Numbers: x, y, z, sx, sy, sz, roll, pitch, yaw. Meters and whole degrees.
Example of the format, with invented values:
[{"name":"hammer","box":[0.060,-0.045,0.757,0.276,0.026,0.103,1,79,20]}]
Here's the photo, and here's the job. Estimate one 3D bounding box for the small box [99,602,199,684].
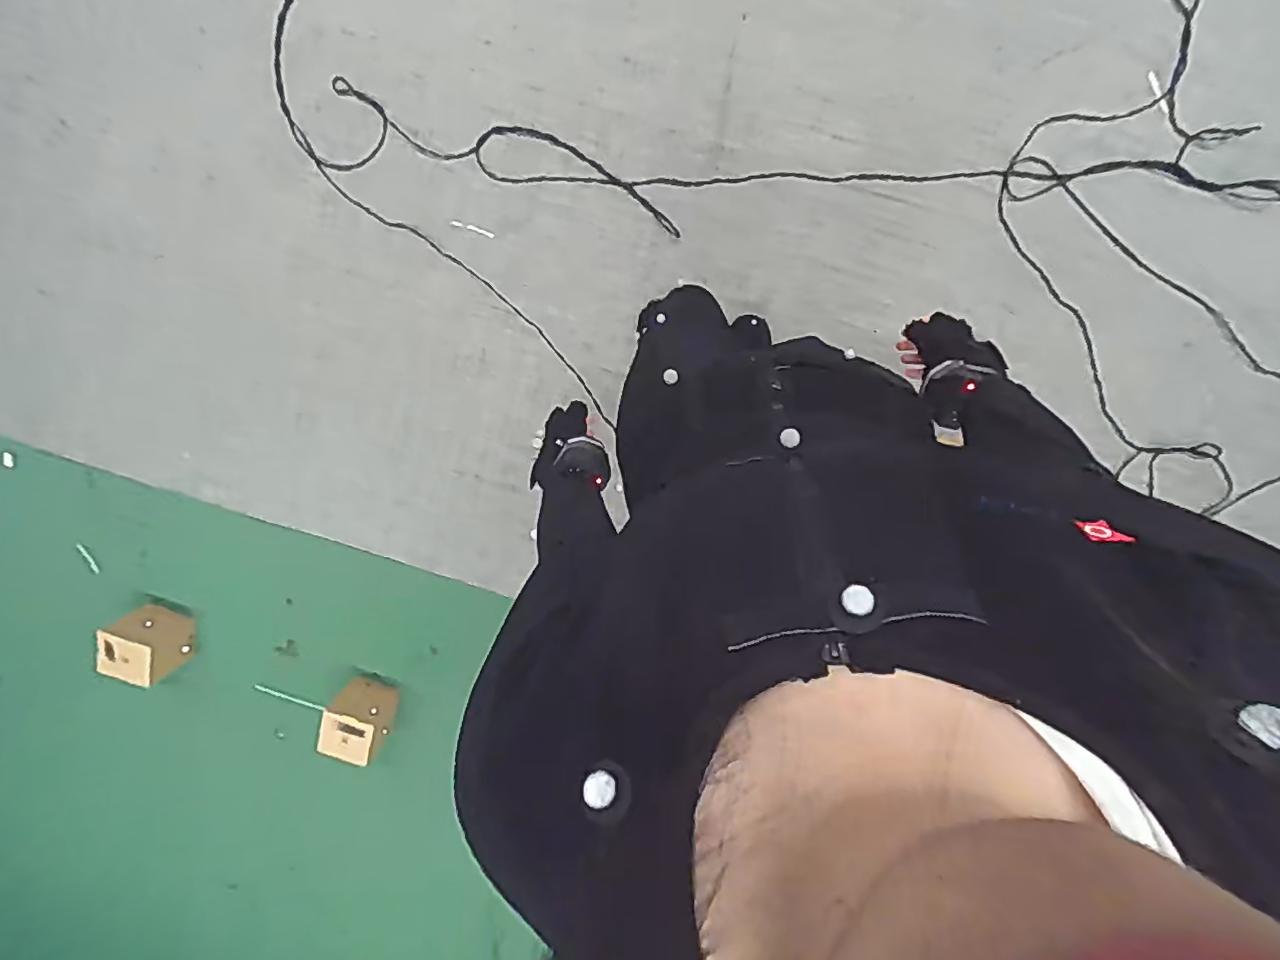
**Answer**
[{"name":"small box","box":[-1.595,0.523,1.761,0.179,0.176,0.168,19,109,-1]}]
